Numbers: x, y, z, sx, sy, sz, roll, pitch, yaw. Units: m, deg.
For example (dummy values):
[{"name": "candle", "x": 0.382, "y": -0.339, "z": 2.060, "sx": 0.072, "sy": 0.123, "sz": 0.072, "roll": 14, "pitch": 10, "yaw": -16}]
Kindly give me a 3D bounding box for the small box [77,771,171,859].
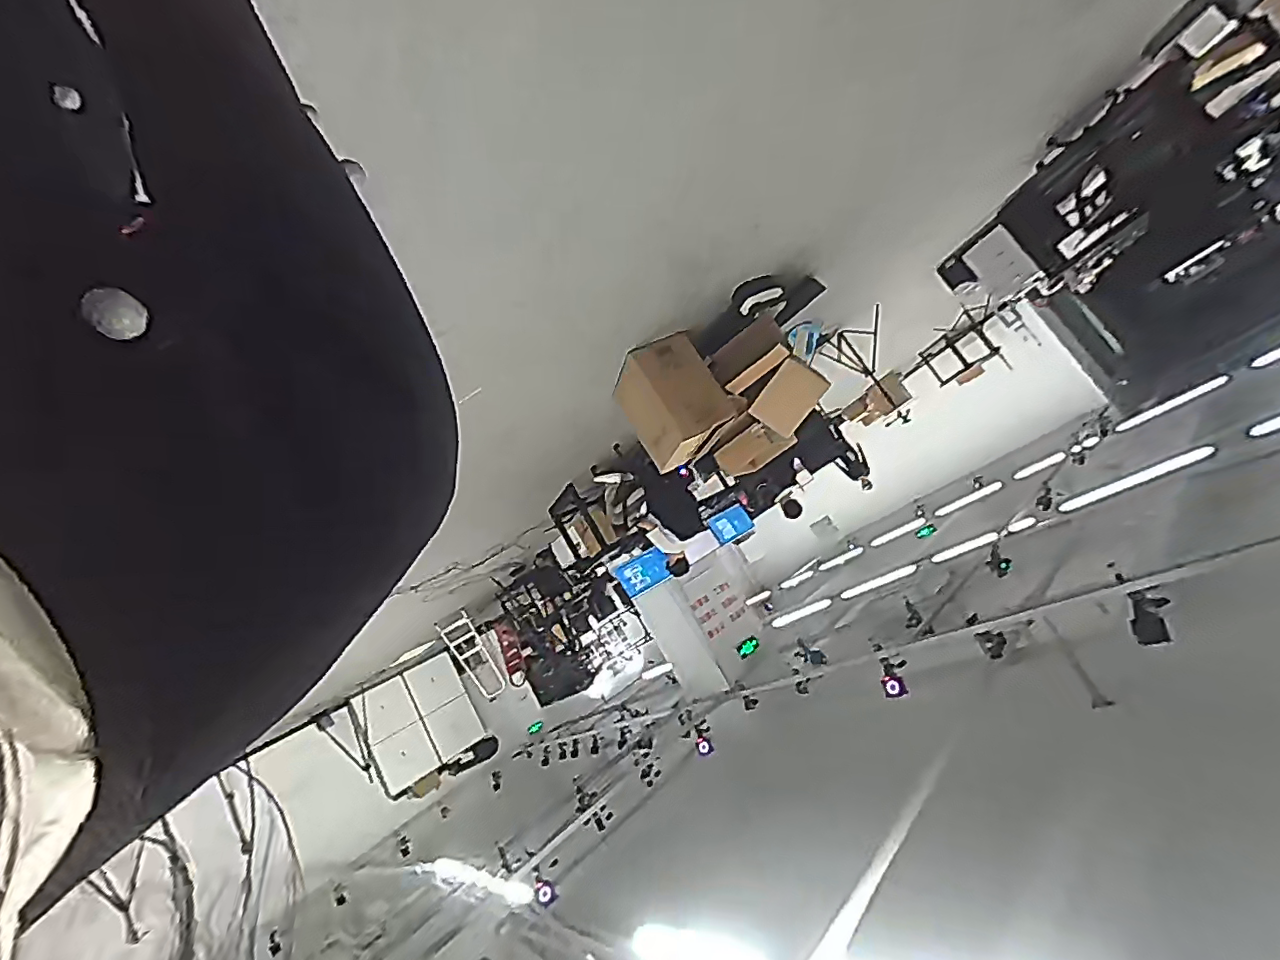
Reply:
[{"name": "small box", "x": -1.627, "y": 1.053, "z": 1.707, "sx": 0.179, "sy": 0.176, "sz": 0.168, "roll": -21, "pitch": 166, "yaw": -39}]
